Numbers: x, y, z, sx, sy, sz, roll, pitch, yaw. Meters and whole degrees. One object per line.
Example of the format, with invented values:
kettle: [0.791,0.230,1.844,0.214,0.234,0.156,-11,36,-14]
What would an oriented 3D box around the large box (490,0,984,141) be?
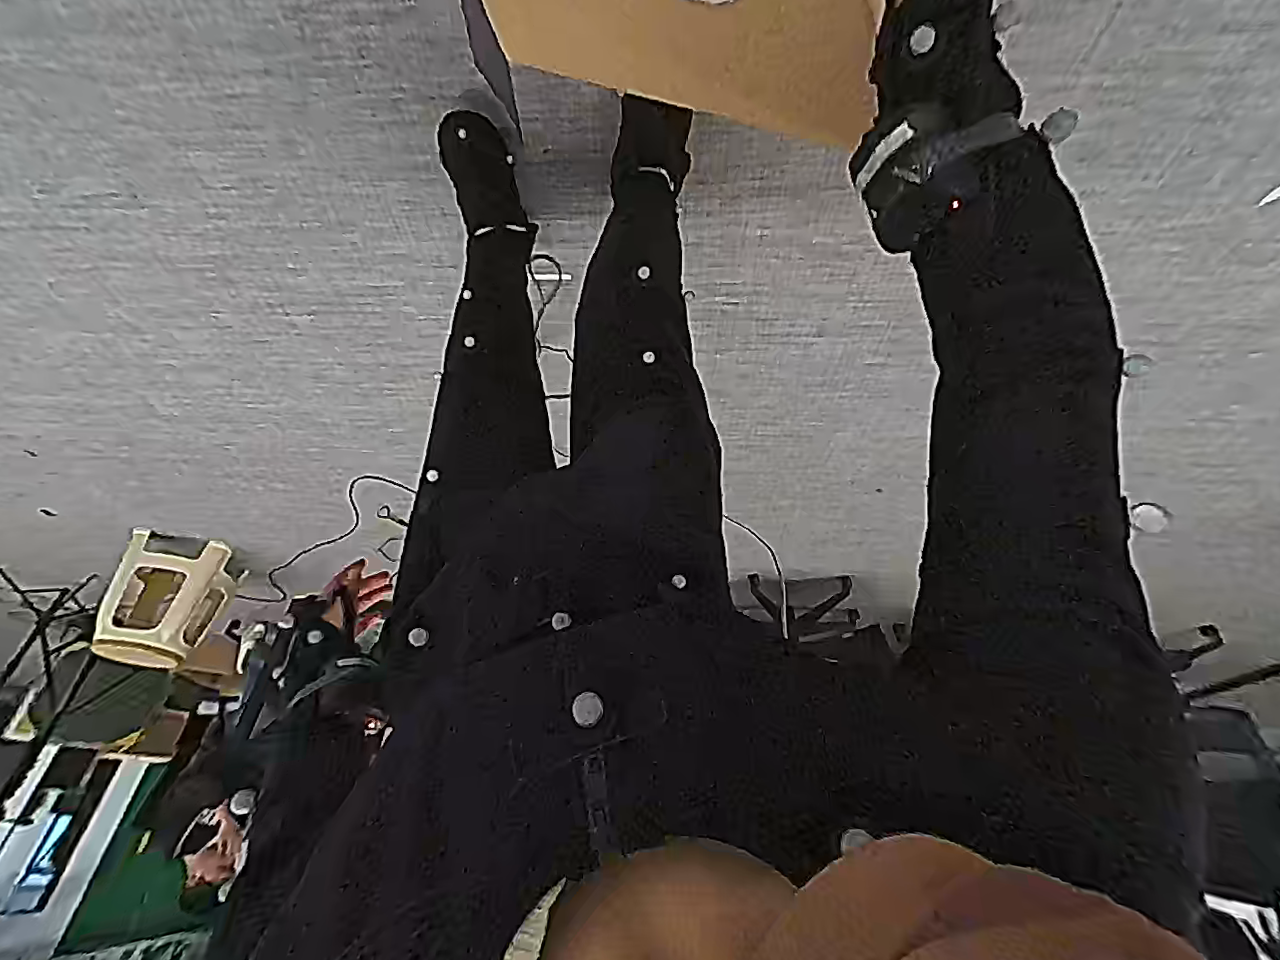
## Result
large box: [0.081,-0.523,0.382,0.408,0.320,0.320,31,168,22]
